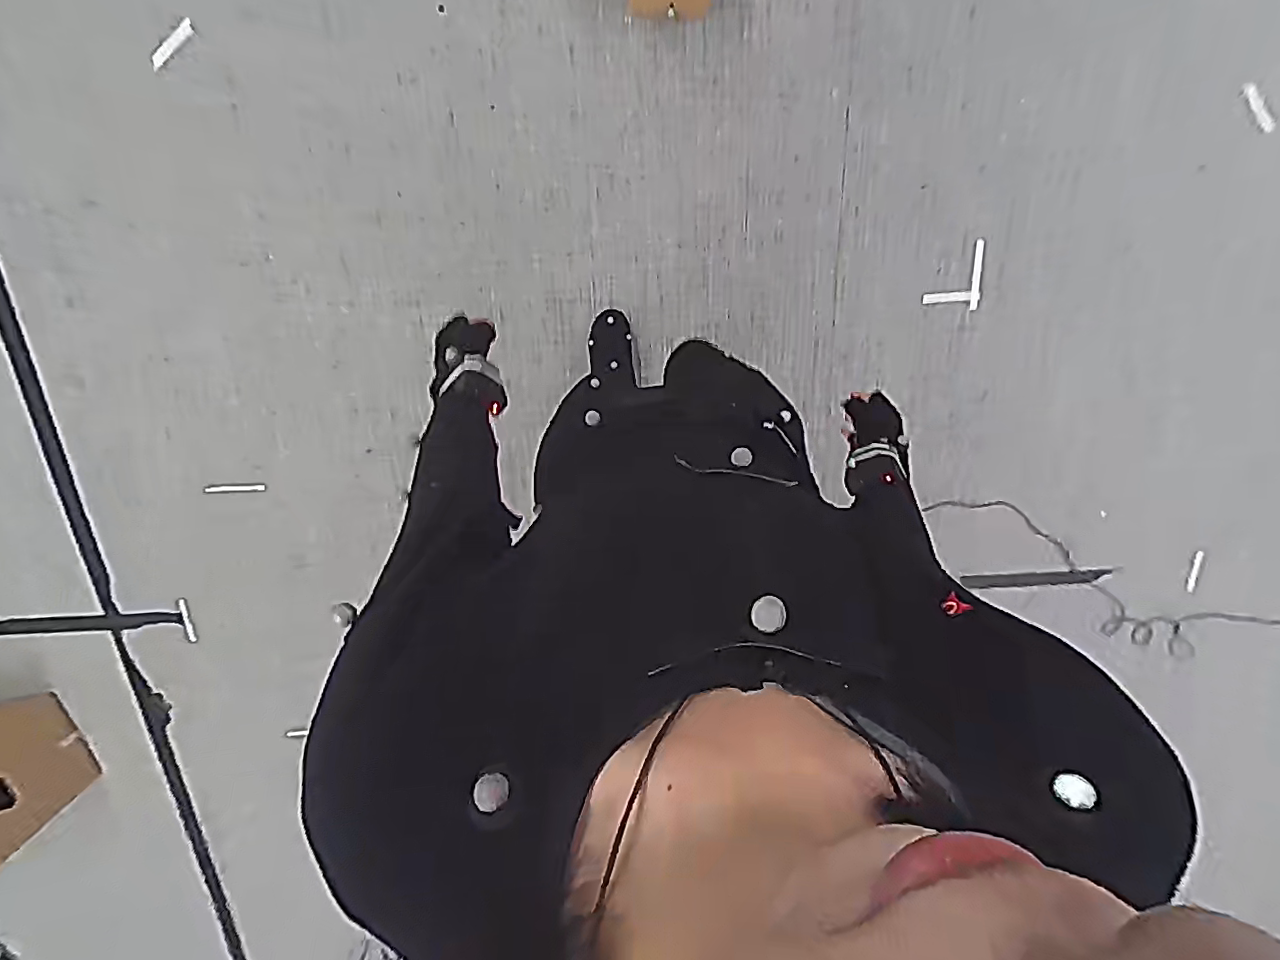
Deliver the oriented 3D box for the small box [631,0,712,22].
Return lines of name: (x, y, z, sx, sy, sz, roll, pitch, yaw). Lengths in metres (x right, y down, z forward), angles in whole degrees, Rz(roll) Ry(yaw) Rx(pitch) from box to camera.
small box: (0.071, -1.104, 1.136, 0.179, 0.176, 0.168, -4, 107, -3)
